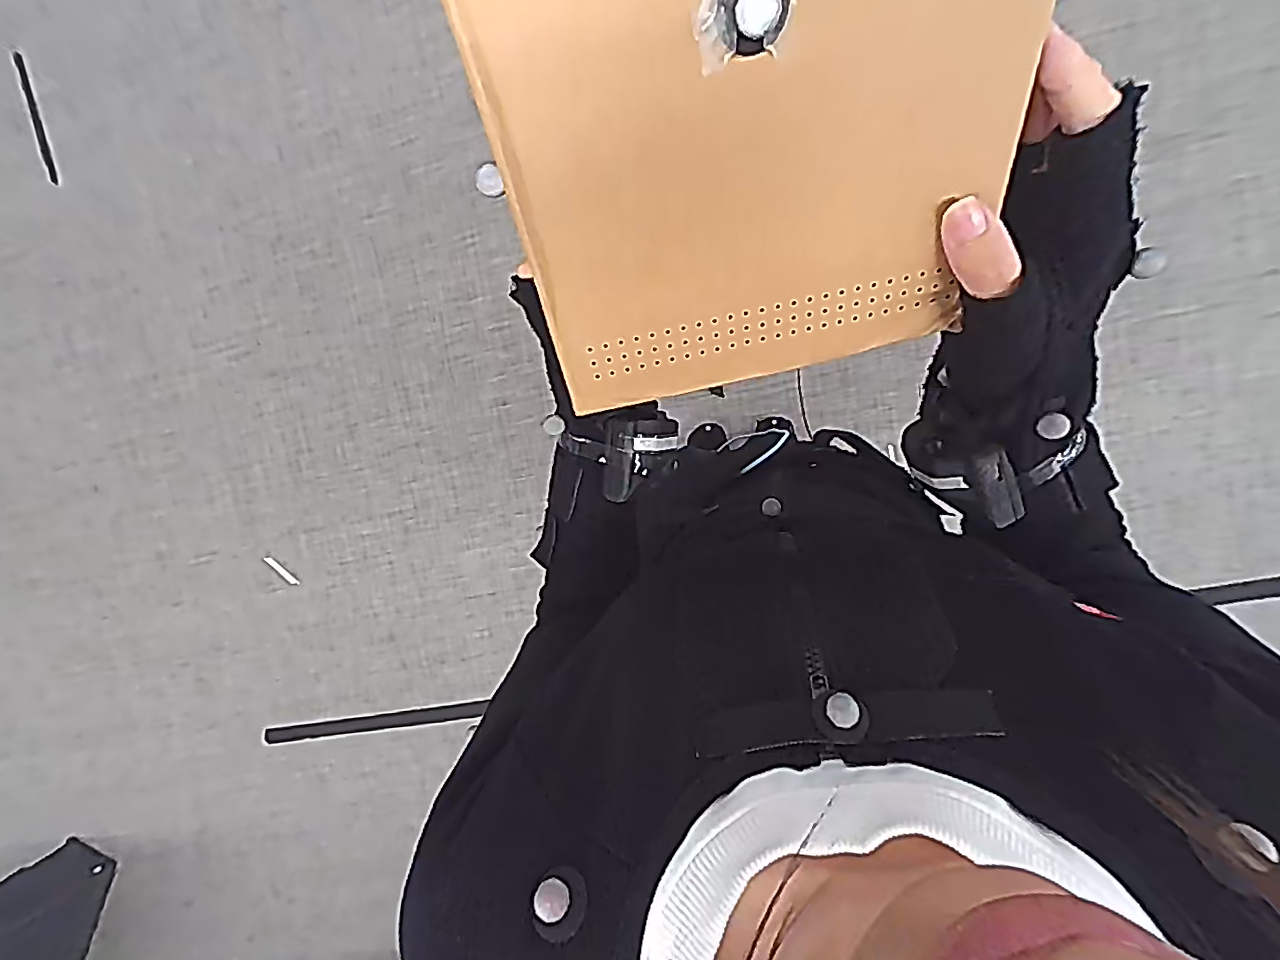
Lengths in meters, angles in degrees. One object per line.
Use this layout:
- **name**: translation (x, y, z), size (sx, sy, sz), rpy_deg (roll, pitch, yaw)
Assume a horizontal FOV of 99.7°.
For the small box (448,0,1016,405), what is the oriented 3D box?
- **small box**: translation (0.035, -0.154, 0.244), size (0.179, 0.168, 0.176), rpy_deg (-12, 134, 2)
